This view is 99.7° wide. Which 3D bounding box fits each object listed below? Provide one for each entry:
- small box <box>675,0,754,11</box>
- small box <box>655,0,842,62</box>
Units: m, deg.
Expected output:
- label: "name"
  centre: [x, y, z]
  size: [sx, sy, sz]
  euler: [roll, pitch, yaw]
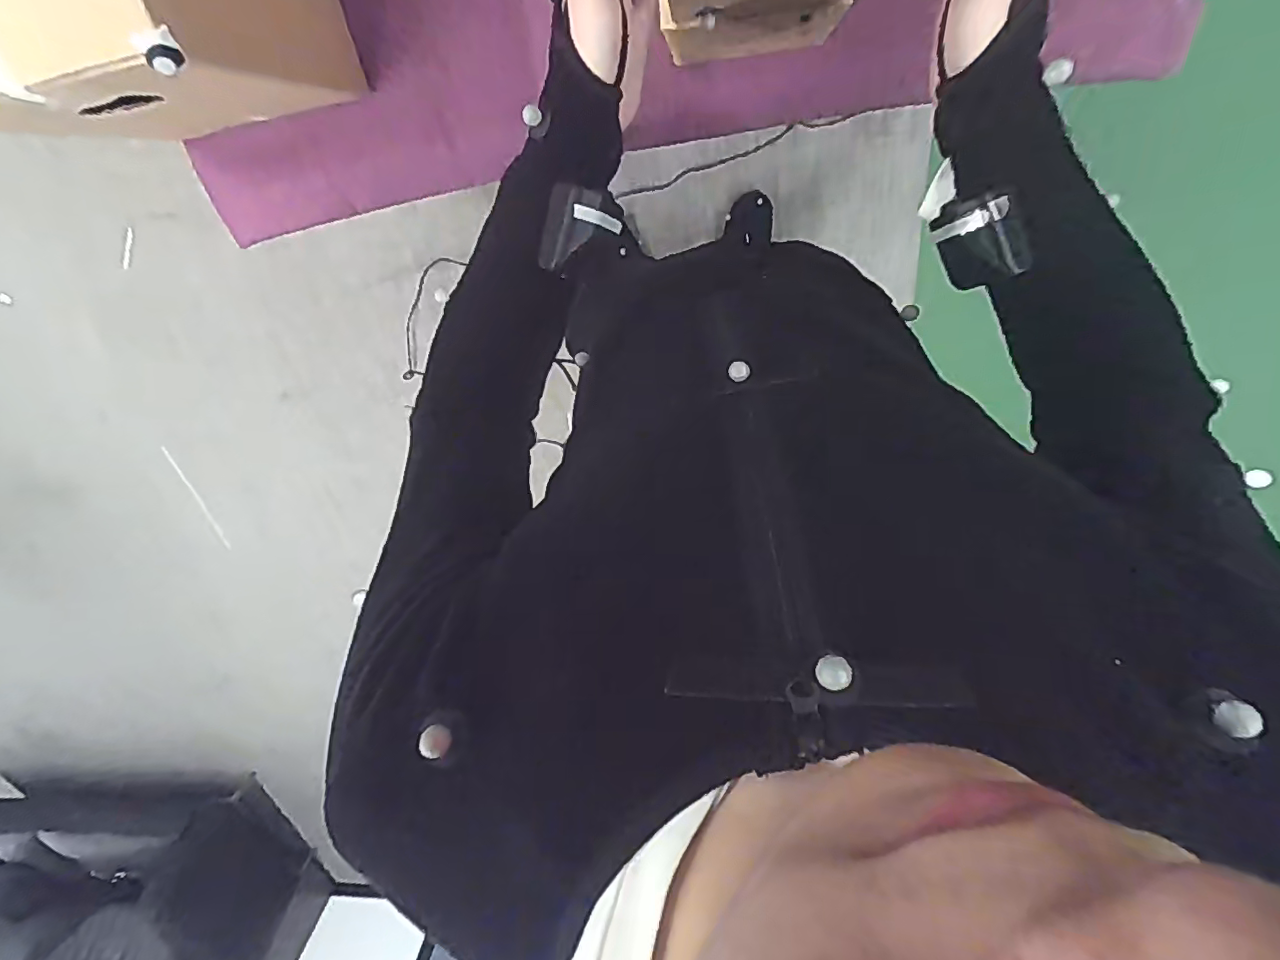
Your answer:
- label: "small box"
  centre: [0.090, -0.458, 0.370]
  size: [0.168, 0.176, 0.179]
  euler: [-3, 117, 9]
- label: "small box"
  centre: [0.103, -0.528, 0.519]
  size: [0.179, 0.176, 0.168]
  euler: [-2, 118, 8]
